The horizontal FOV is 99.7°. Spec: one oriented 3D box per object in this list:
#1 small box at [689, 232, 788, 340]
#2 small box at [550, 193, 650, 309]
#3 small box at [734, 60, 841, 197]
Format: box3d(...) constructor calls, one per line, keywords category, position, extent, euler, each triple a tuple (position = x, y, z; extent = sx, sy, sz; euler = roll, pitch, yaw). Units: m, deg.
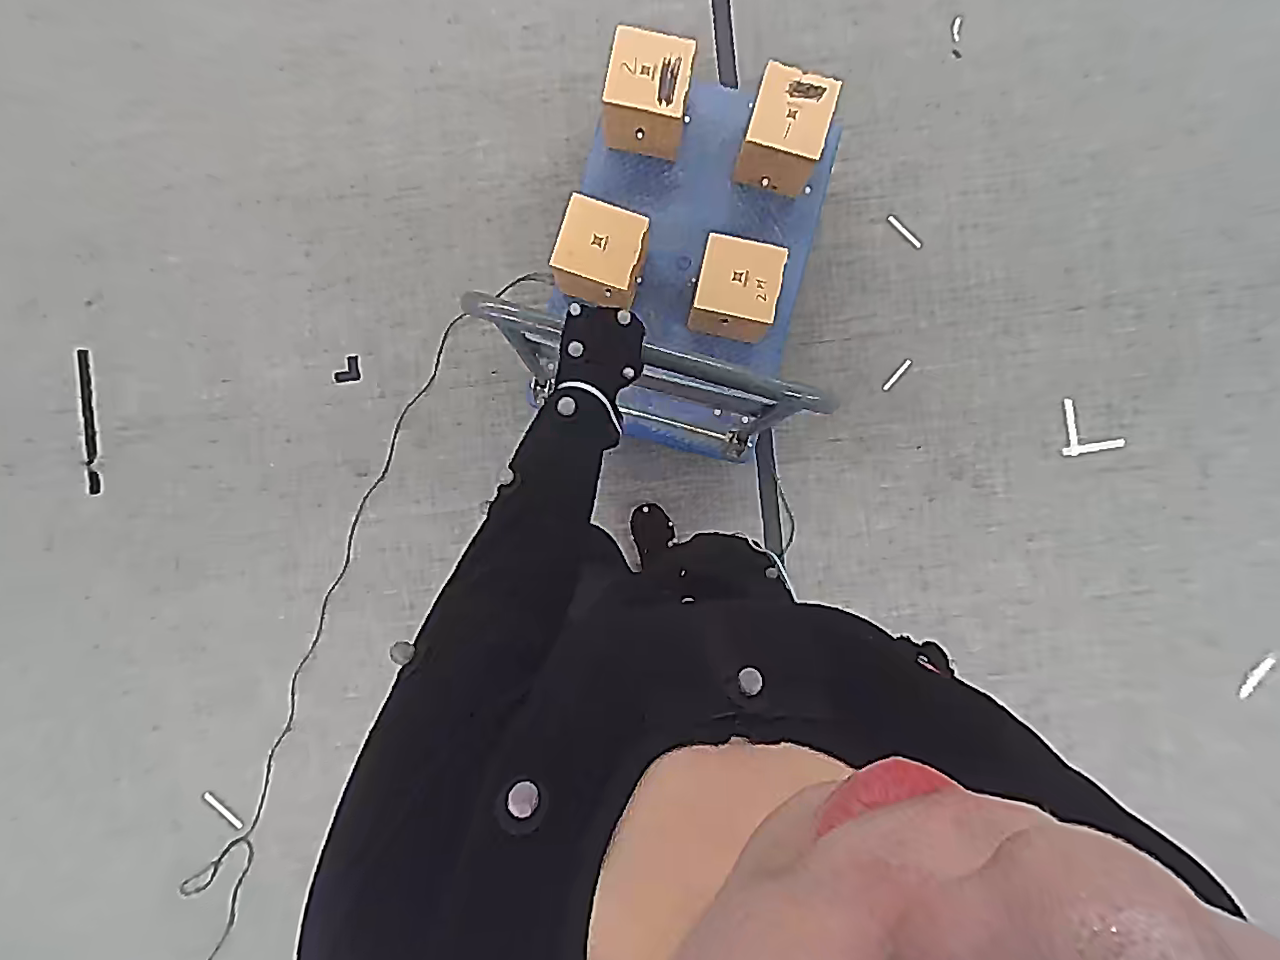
box3d(category="small box", position=(0.213, -0.431, 1.228), extent=(0.179, 0.176, 0.168), euler=(13, 91, 0))
box3d(category="small box", position=(-0.087, -0.508, 1.226), extent=(0.179, 0.176, 0.168), euler=(18, 90, -2))
box3d(category="small box", position=(0.324, -0.785, 1.225), extent=(0.168, 0.176, 0.179), euler=(16, 92, -1))
